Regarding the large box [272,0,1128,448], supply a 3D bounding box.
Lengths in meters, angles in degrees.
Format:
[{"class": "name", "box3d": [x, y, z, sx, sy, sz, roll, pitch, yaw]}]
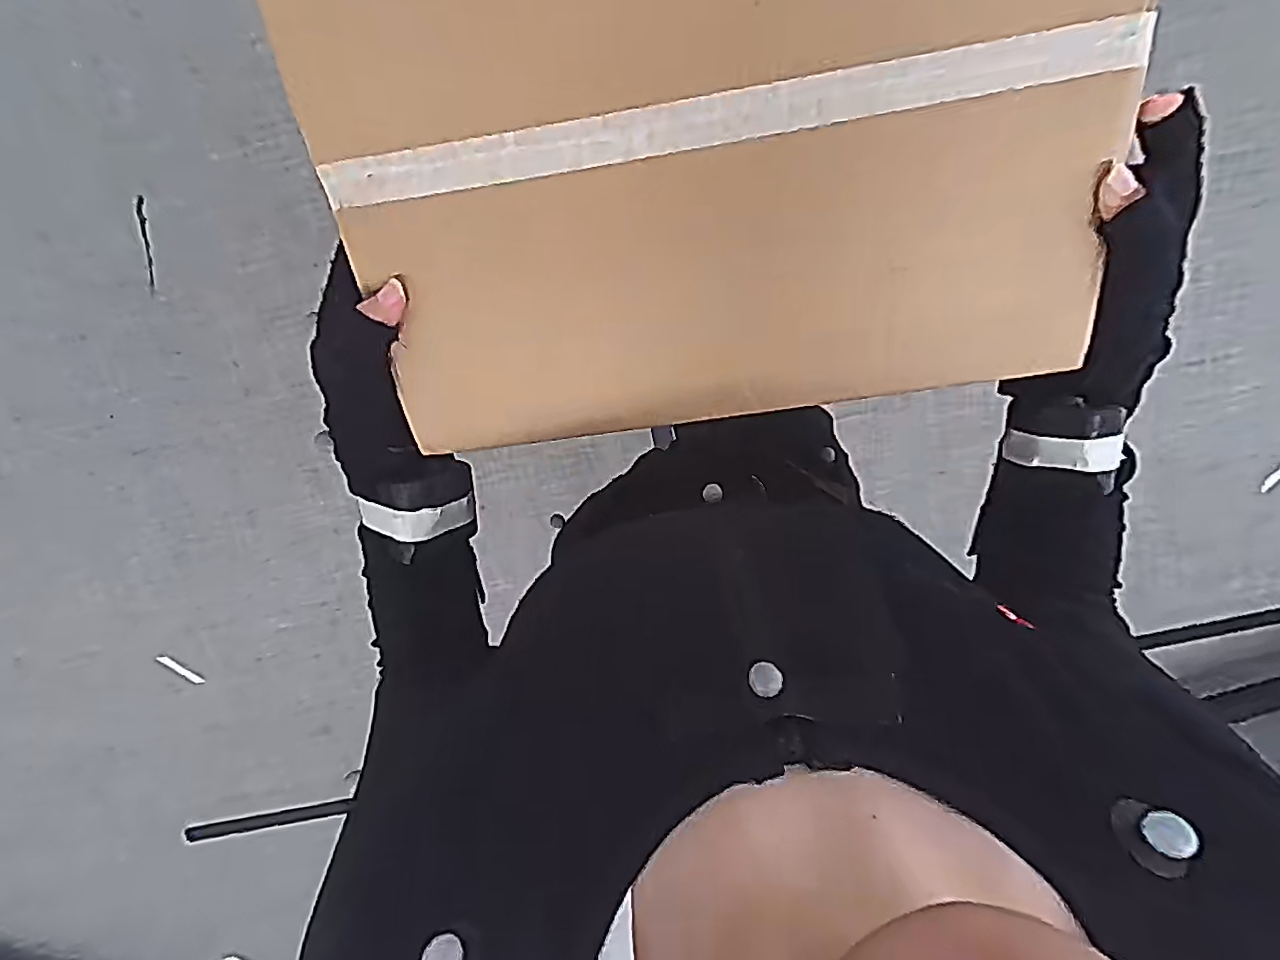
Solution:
[{"class": "large box", "box3d": [0.036, -0.250, 0.409, 0.408, 0.320, 0.320, -7, 116, 4]}]
